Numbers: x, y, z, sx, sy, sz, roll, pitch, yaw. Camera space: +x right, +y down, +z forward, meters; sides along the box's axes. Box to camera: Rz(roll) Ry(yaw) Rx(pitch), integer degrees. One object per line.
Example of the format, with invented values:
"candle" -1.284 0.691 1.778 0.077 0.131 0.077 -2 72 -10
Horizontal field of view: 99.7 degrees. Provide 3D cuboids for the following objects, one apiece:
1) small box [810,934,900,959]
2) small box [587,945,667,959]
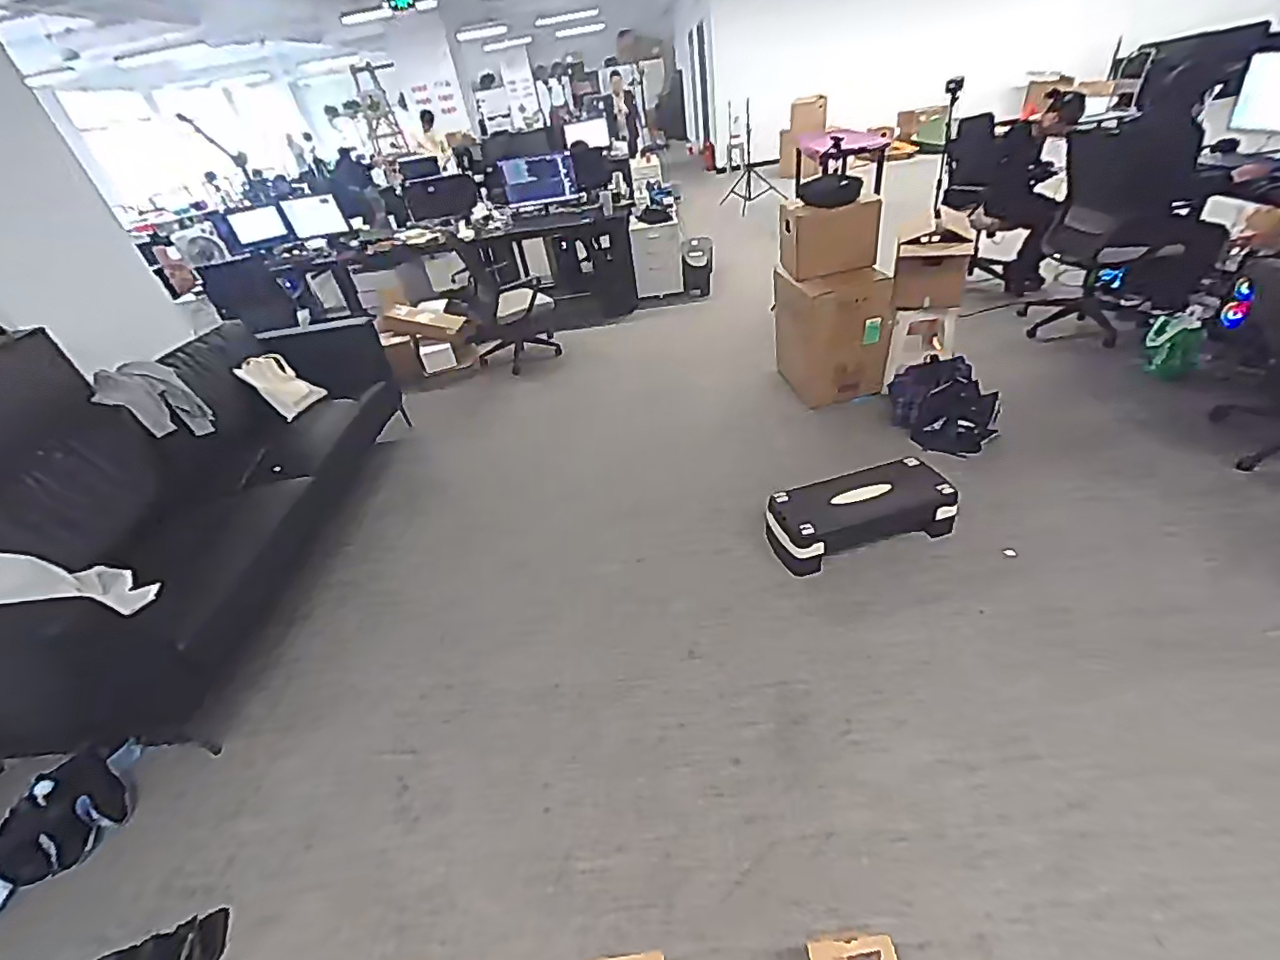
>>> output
"small box" 0.428 1.014 1.040 0.168 0.176 0.179 -9 36 5
"small box" -0.012 1.076 1.083 0.168 0.176 0.179 -9 35 1
